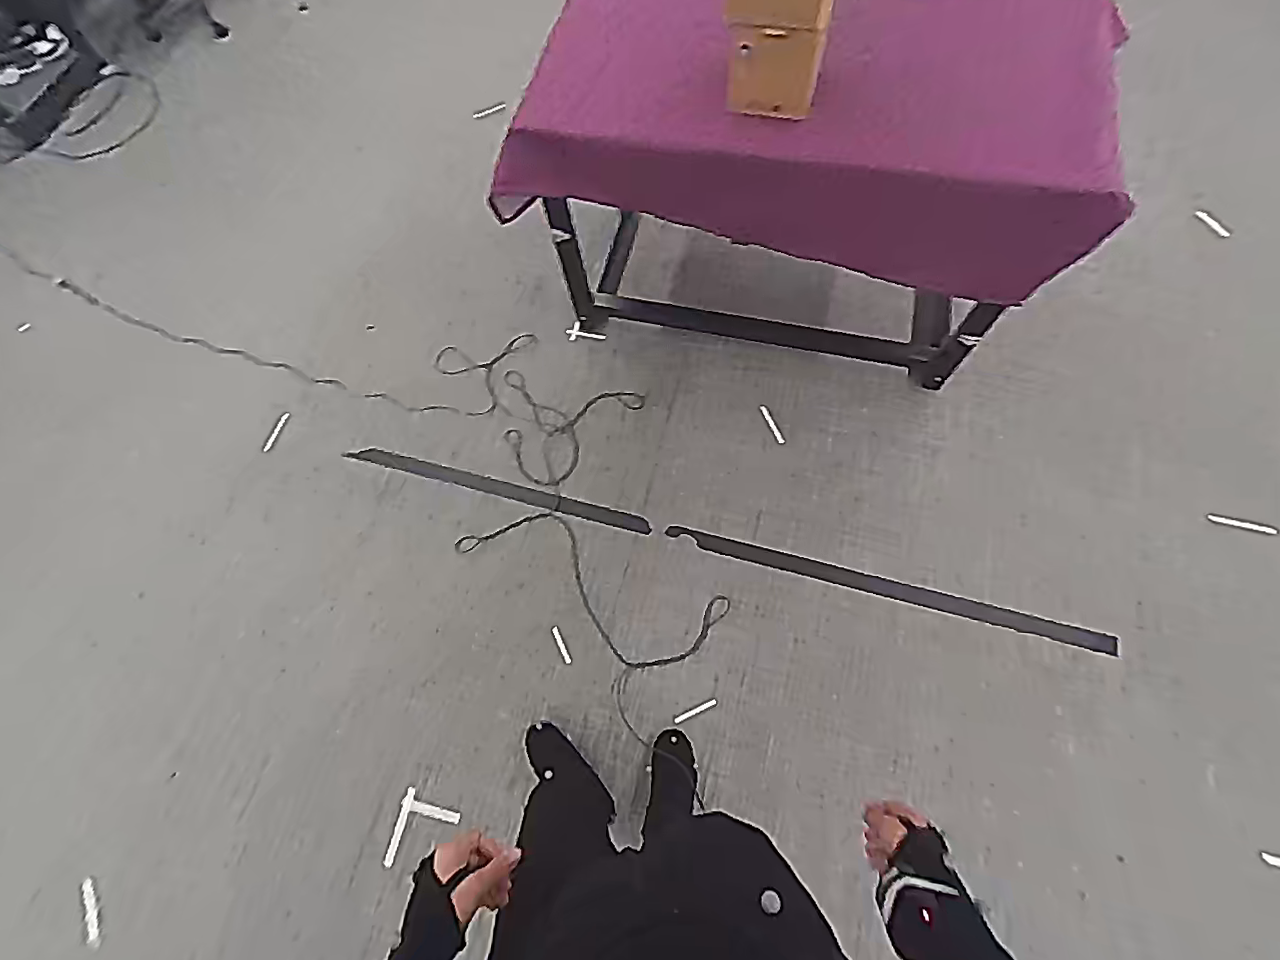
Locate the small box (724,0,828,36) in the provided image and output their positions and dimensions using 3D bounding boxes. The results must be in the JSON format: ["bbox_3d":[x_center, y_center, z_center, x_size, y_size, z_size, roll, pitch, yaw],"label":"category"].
[{"bbox_3d":[0.250,-0.916,0.940,0.179,0.176,0.168,15,70,10],"label":"small box"}]
